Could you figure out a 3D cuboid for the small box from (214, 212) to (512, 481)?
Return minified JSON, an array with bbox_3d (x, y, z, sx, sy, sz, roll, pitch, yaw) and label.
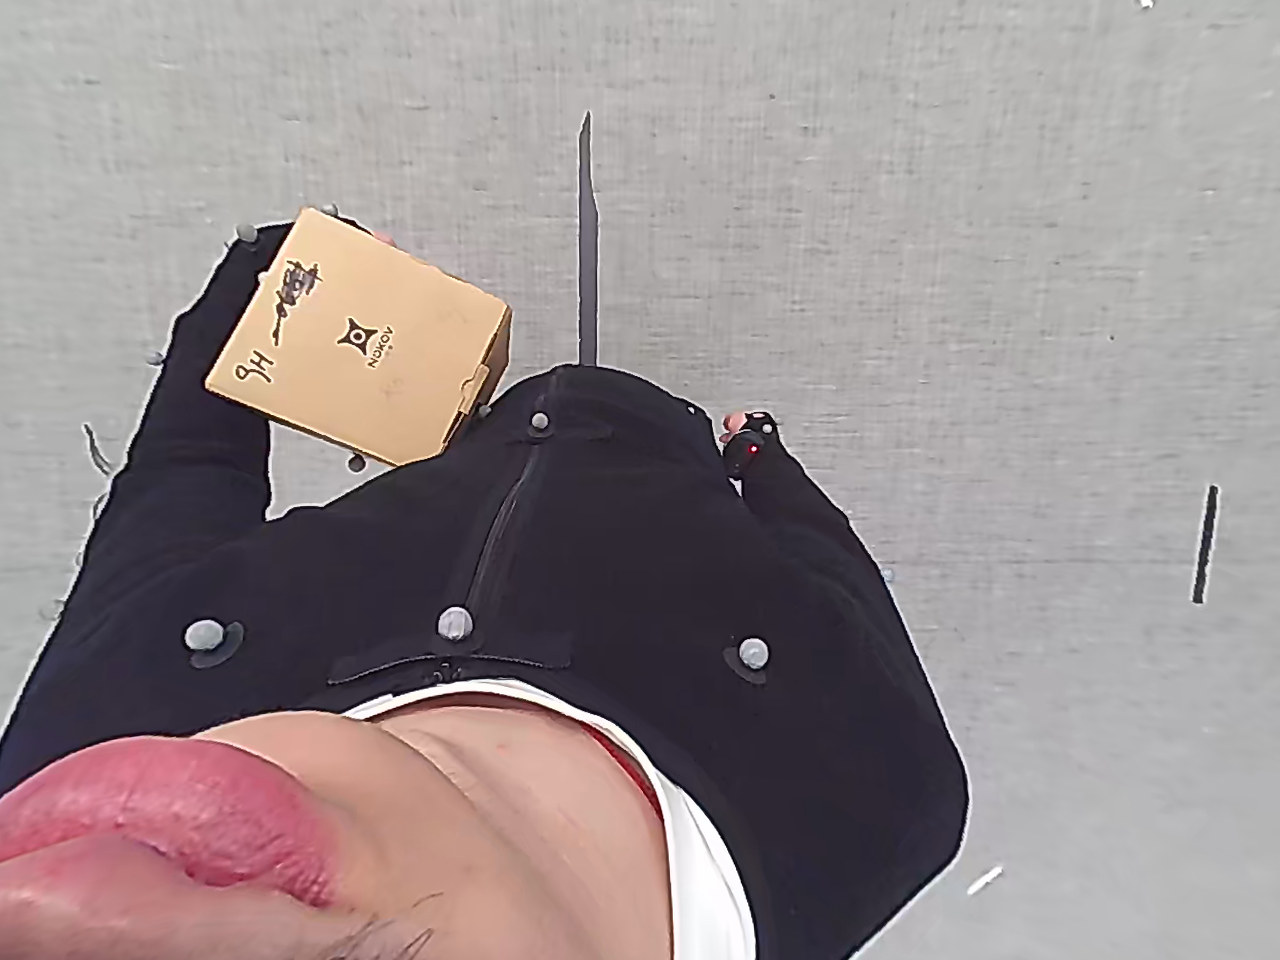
[{"bbox_3d":[-0.239,-0.105,0.517,0.179,0.176,0.168,24,79,-13],"label":"small box"}]
